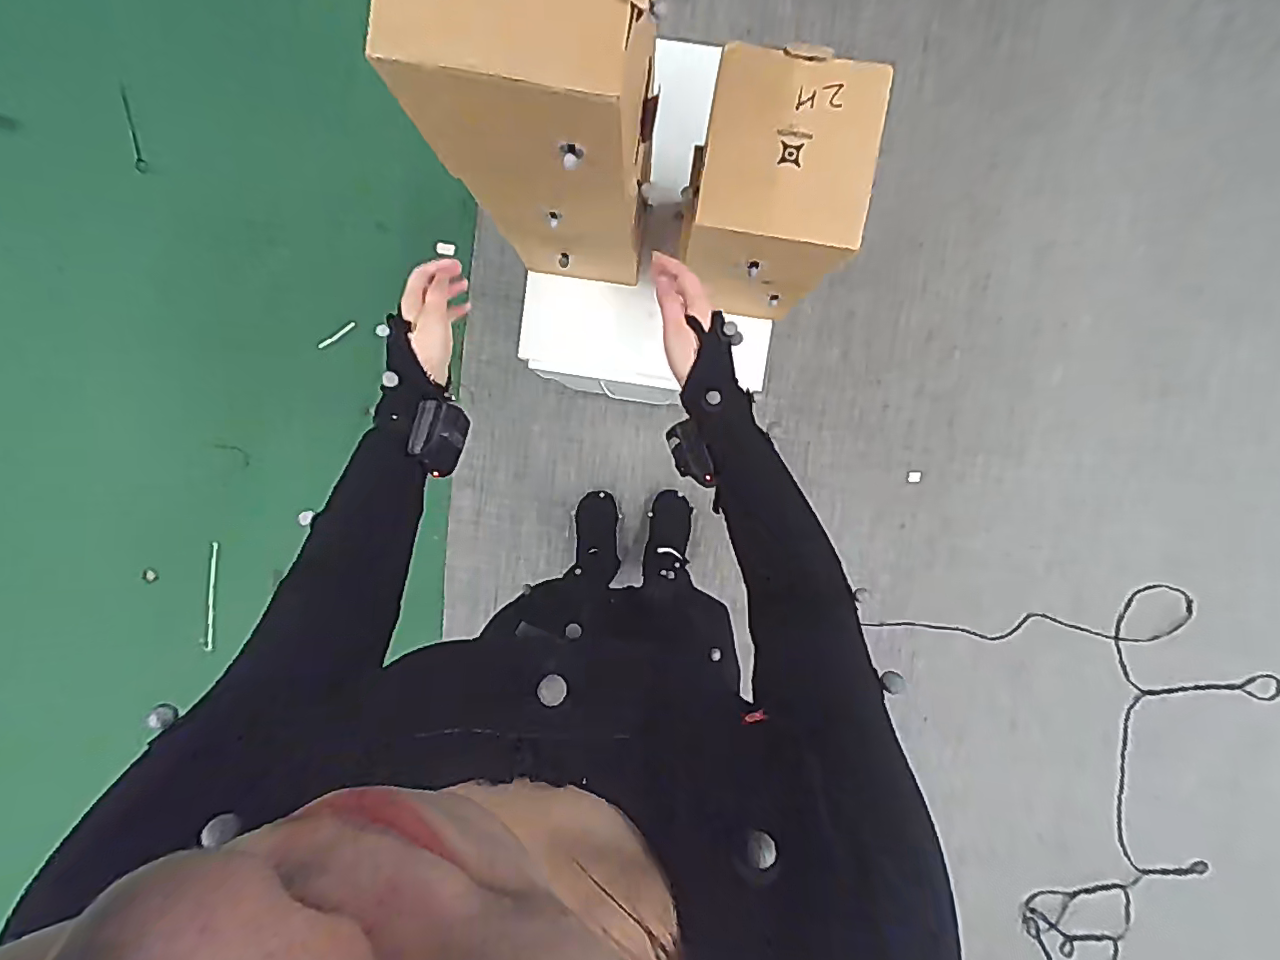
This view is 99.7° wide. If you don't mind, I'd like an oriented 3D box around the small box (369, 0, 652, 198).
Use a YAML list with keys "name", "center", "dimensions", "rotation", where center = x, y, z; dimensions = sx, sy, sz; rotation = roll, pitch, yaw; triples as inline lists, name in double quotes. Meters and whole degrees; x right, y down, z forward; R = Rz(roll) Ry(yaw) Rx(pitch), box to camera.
- name: "small box"
  center: [-0.085, -0.354, 0.438]
  dimensions: [0.179, 0.176, 0.168]
  rotation: [9, 94, 0]

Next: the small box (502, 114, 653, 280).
- name: "small box"
  center: [-0.081, -0.395, 0.763]
  dimensions: [0.179, 0.176, 0.168]
  rotation: [8, 96, -2]

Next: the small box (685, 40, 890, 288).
- name: "small box"
  center: [0.146, -0.329, 0.602]
  dimensions: [0.168, 0.176, 0.179]
  rotation: [9, 95, -1]
